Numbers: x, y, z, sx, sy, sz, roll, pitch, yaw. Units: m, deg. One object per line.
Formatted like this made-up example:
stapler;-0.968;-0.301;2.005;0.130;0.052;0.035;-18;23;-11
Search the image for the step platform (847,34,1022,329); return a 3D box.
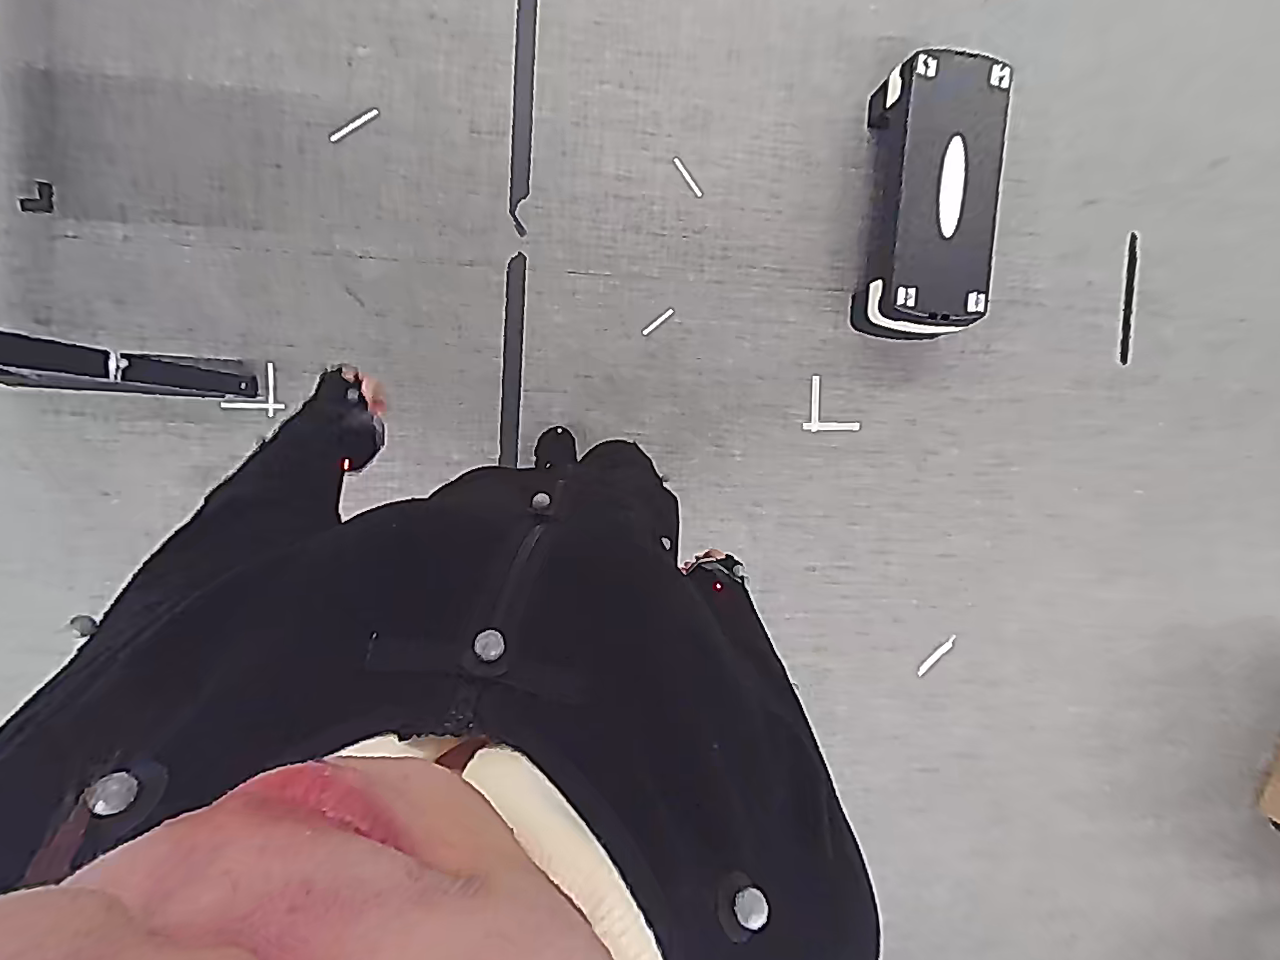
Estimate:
step platform;0.778;-0.771;1.441;0.286;0.204;0.684;8;92;-7
